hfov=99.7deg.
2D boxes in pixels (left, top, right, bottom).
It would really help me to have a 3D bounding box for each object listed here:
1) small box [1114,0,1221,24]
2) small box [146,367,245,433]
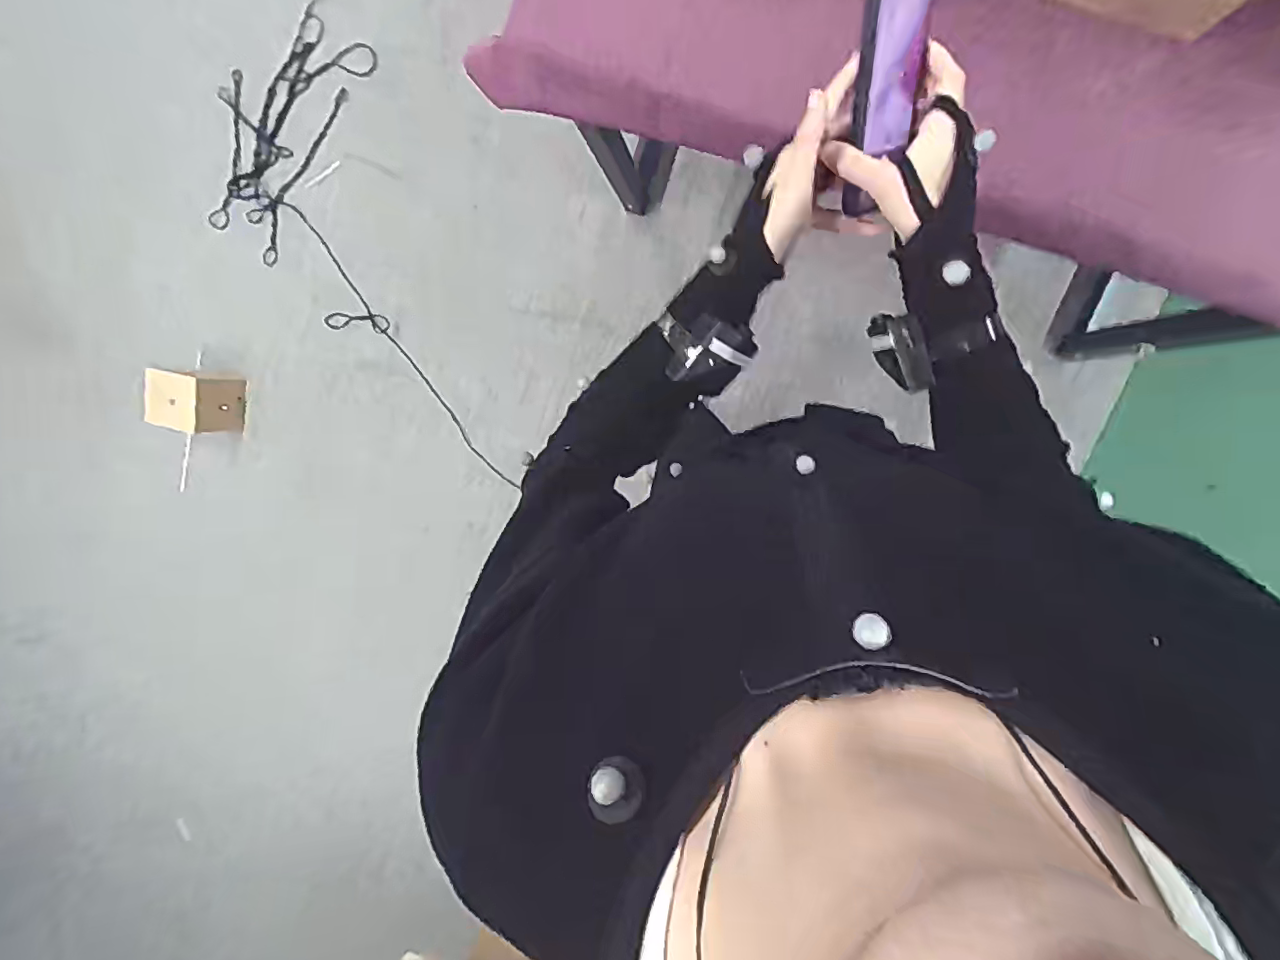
[{"bbox_3d":[0.556,-0.595,0.517,0.179,0.176,0.168,25,103,6],"label":"small box"},{"bbox_3d":[-1.353,-0.247,1.652,0.179,0.176,0.168,13,101,8],"label":"small box"}]
